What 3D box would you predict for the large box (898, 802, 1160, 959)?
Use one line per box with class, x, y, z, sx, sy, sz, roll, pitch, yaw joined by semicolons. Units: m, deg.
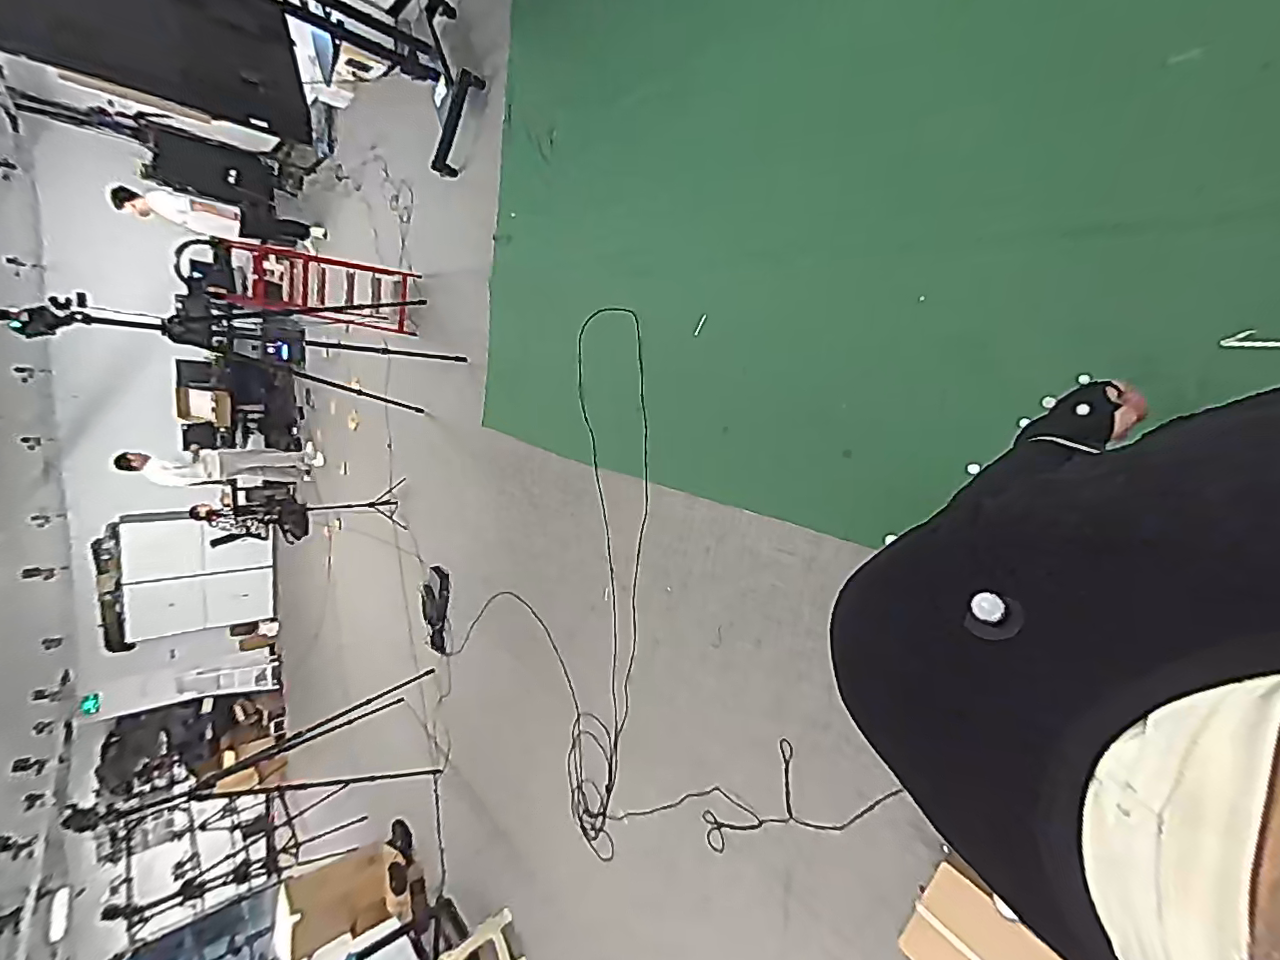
large box;0.930;1.106;1.316;0.408;0.320;0.320;30;114;41
